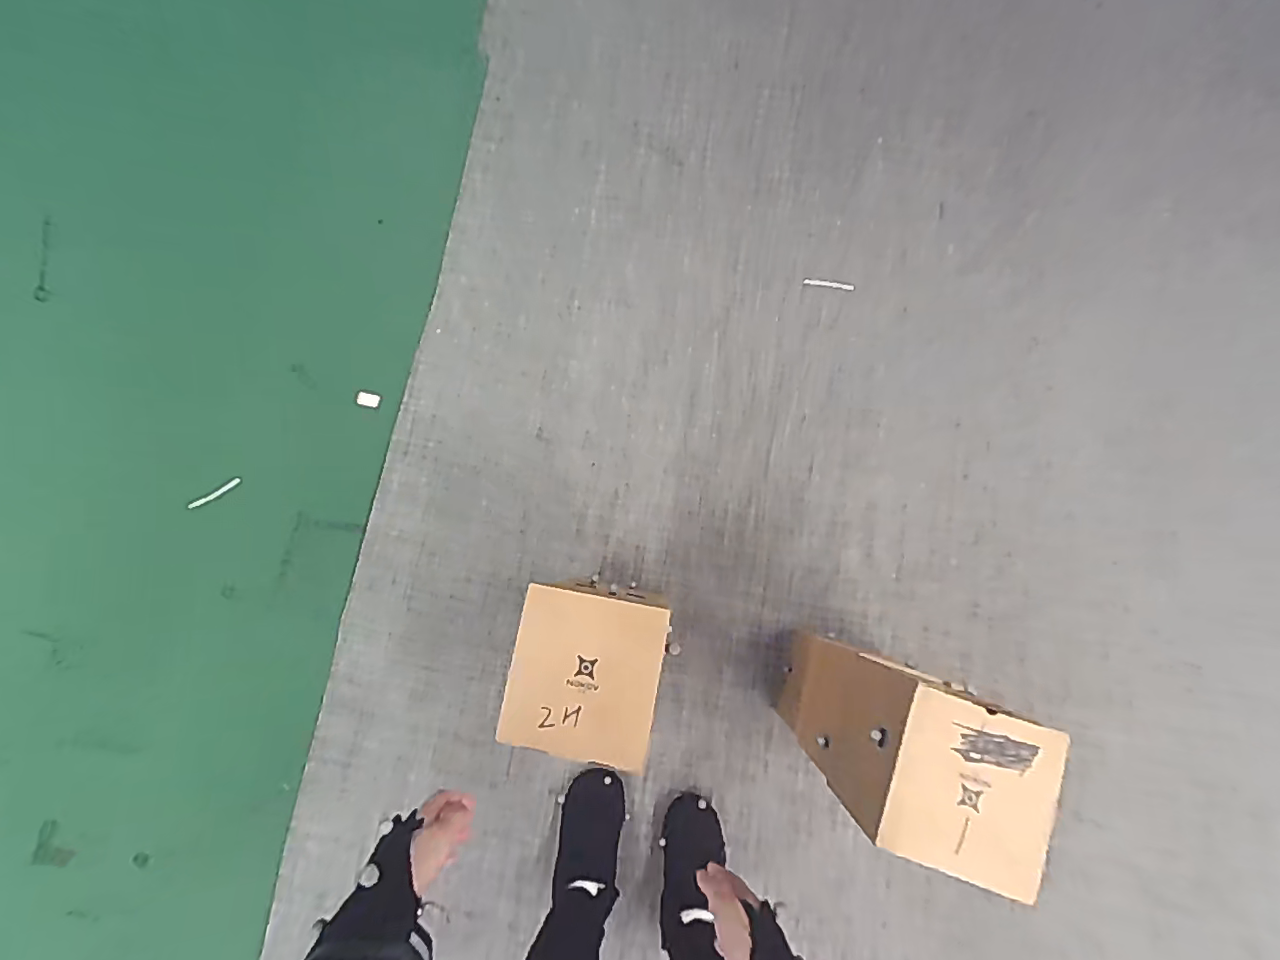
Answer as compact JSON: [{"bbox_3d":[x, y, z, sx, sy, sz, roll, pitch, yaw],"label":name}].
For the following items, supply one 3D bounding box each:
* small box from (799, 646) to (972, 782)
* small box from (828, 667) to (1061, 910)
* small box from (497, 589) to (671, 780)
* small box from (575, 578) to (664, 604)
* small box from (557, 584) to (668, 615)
[{"bbox_3d":[0.352,0.362,0.808,0.168,0.176,0.179,17,82,5],"label":"small box"},{"bbox_3d":[0.344,0.343,0.644,0.168,0.176,0.179,19,83,5],"label":"small box"},{"bbox_3d":[-0.057,0.237,0.677,0.168,0.176,0.179,10,81,5],"label":"small box"},{"bbox_3d":[-0.050,0.287,1.000,0.168,0.176,0.179,13,82,4],"label":"small box"},{"bbox_3d":[-0.053,0.261,0.839,0.168,0.176,0.179,10,82,5],"label":"small box"}]
